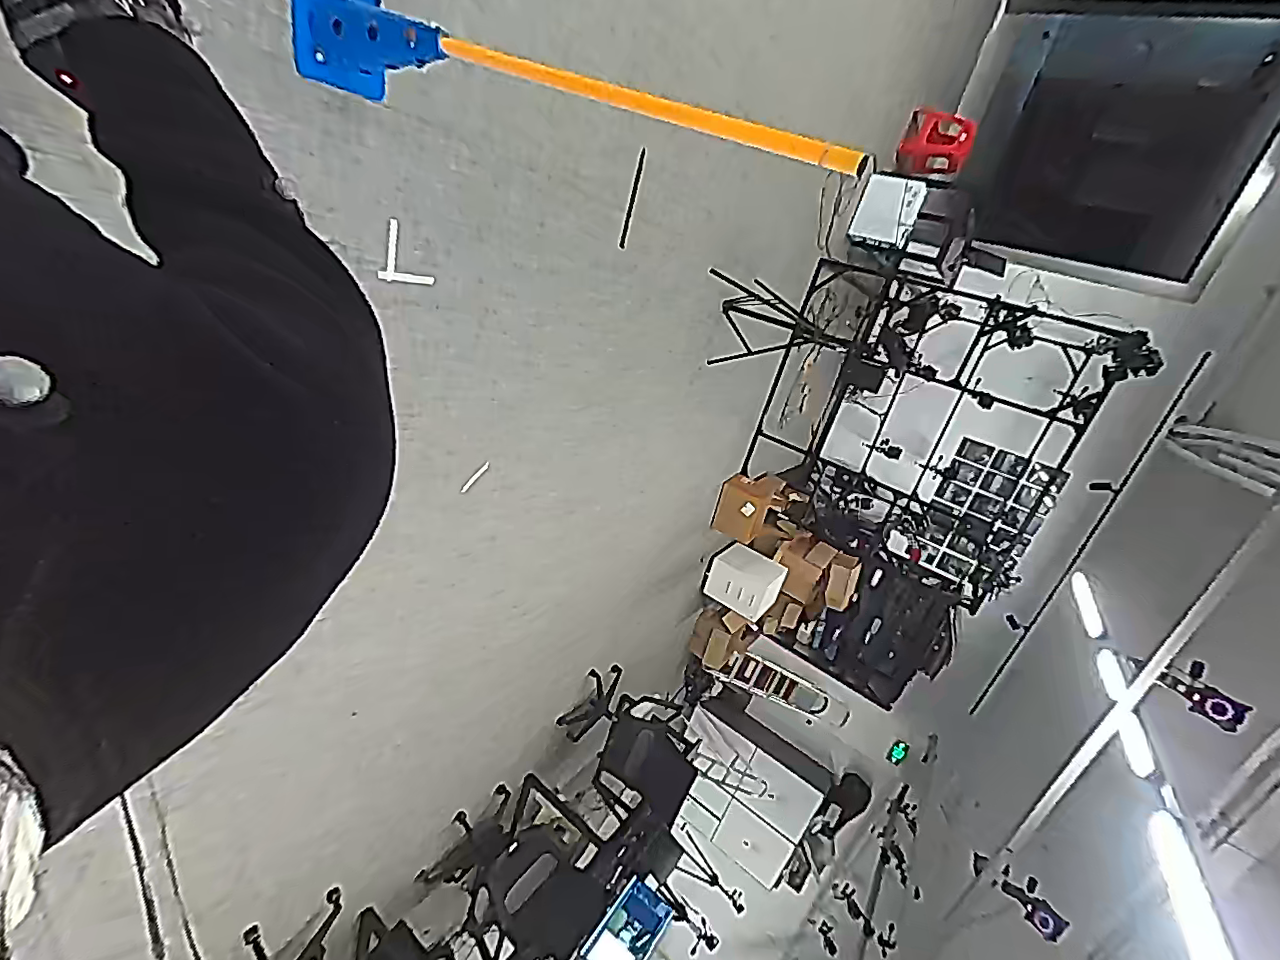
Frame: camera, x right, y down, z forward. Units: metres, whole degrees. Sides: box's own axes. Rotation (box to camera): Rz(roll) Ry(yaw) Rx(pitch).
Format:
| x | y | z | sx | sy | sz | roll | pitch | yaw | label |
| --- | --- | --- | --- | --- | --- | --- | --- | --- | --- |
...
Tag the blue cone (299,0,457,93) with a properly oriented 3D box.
| x | y | z | sx | sy | sz | roll | pitch | yaw | label |
| --- | --- | --- | --- | --- | --- | --- | --- | --- | --- |
| -0.505 | -0.899 | 1.094 | 0.193 | 0.380 | 0.192 | -22 | 131 | -53 | blue cone |
